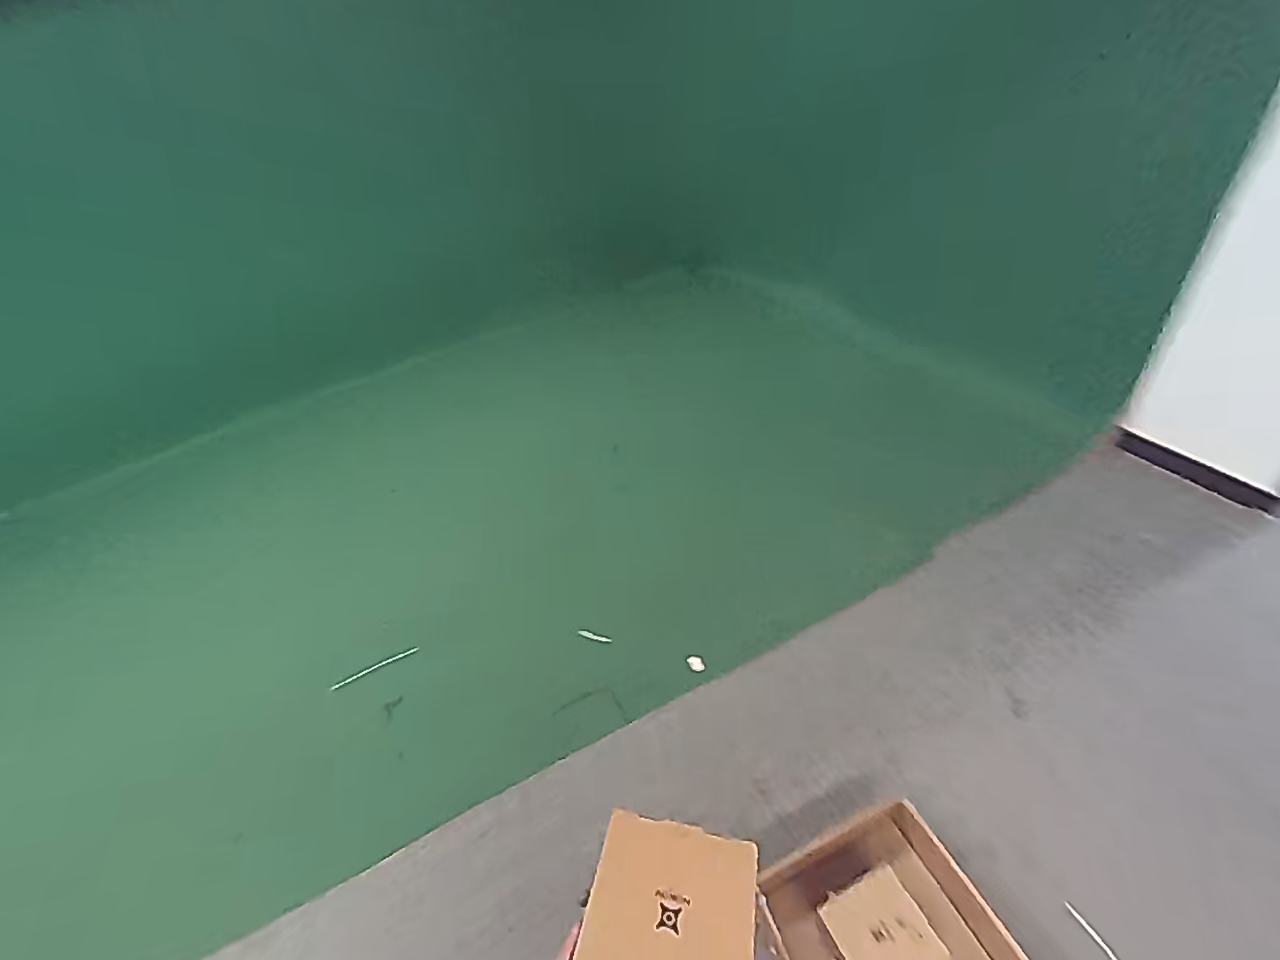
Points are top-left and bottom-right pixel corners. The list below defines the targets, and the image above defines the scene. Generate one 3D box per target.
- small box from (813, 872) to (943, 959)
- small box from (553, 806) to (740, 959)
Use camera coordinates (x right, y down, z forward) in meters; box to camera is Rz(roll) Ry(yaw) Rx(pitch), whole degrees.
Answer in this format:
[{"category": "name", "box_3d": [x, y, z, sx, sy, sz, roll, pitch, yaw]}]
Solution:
[{"category": "small box", "box_3d": [0.464, 0.928, 1.070, 0.179, 0.176, 0.168, -23, 43, -11]}, {"category": "small box", "box_3d": [0.010, 0.489, 0.562, 0.168, 0.176, 0.179, 7, 26, 9]}]
